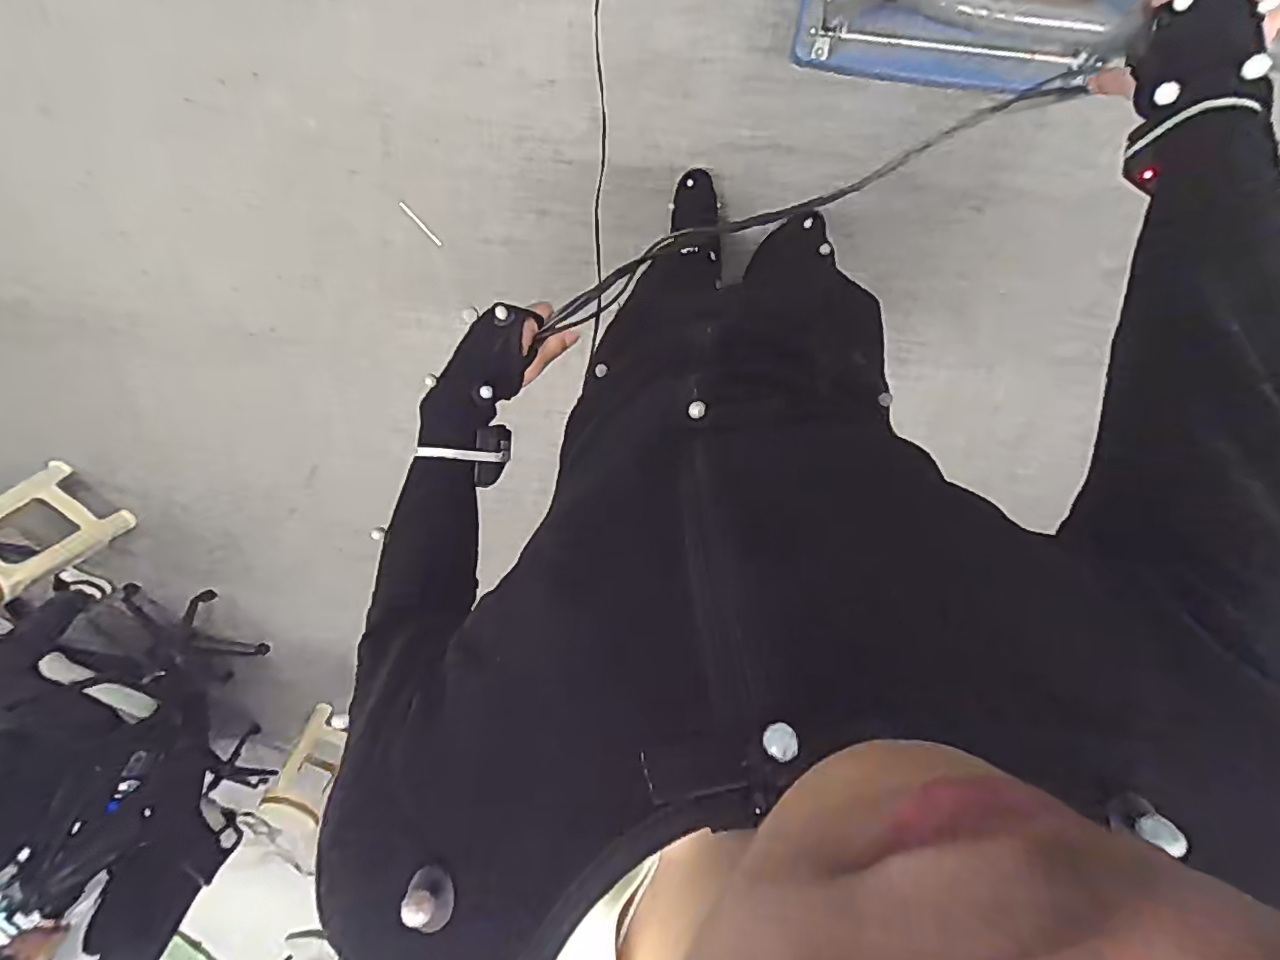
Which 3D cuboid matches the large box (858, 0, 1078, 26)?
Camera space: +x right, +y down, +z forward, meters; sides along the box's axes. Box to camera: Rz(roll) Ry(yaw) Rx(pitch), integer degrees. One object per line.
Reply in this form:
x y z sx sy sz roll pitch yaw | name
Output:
0.552 -0.944 0.768 0.320 0.320 0.408 10 122 1 | large box
